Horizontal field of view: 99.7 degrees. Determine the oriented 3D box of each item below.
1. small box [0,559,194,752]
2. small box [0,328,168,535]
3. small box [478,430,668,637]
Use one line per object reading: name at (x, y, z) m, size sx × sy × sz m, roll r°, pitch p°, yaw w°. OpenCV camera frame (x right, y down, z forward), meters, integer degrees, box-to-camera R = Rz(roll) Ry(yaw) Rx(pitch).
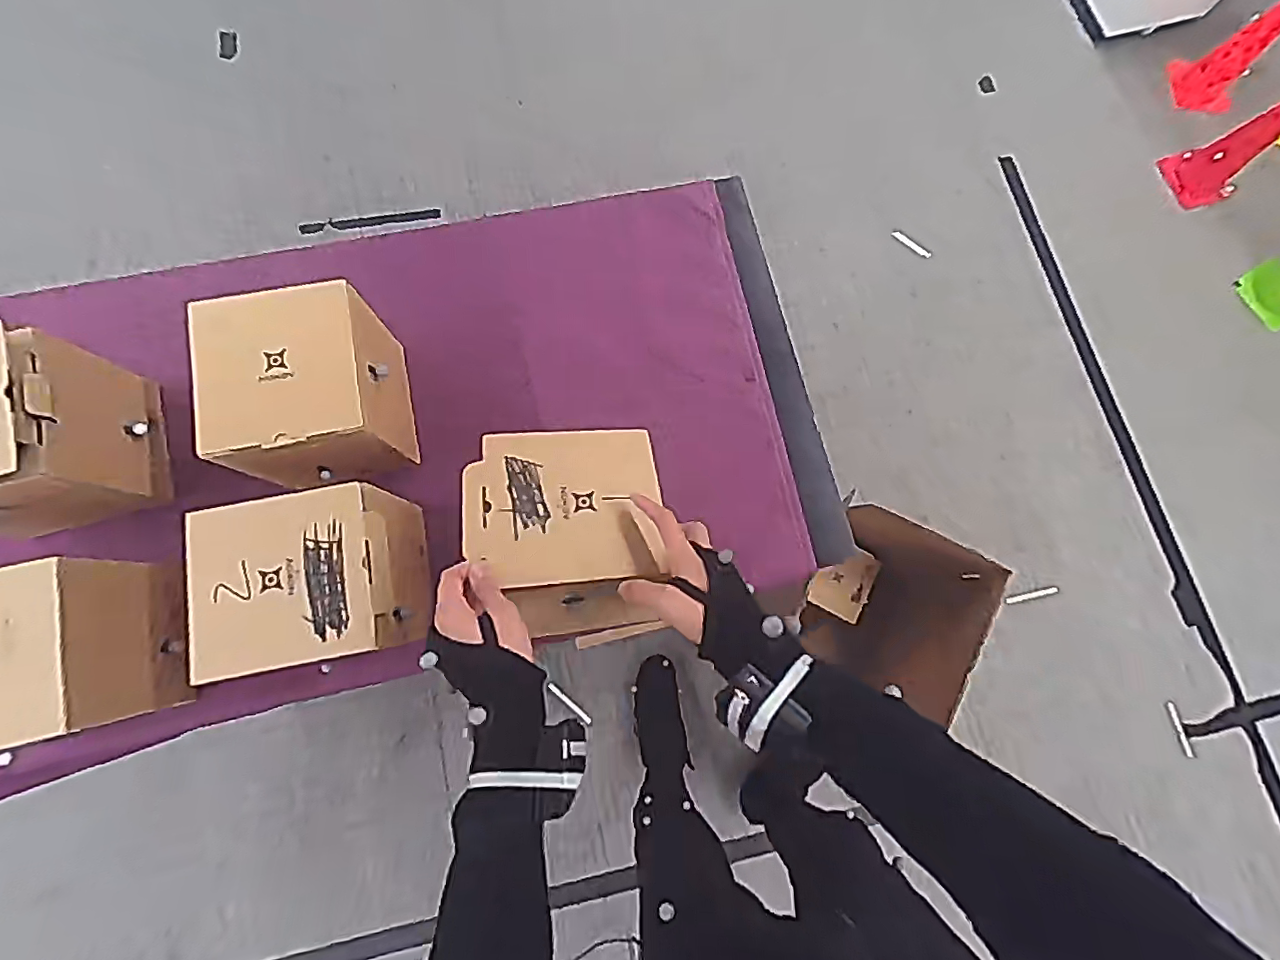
small box at (-0.621, 0.186, 0.563) m, size 0.179 × 0.176 × 0.168 m, roll -13°, pitch 80°, yaw -7°
small box at (-0.691, -0.042, 0.605) m, size 0.179 × 0.176 × 0.168 m, roll -15°, pitch 80°, yaw -7°
small box at (-0.073, 0.066, 0.600) m, size 0.179 × 0.176 × 0.168 m, roll -7°, pitch 61°, yaw -7°
